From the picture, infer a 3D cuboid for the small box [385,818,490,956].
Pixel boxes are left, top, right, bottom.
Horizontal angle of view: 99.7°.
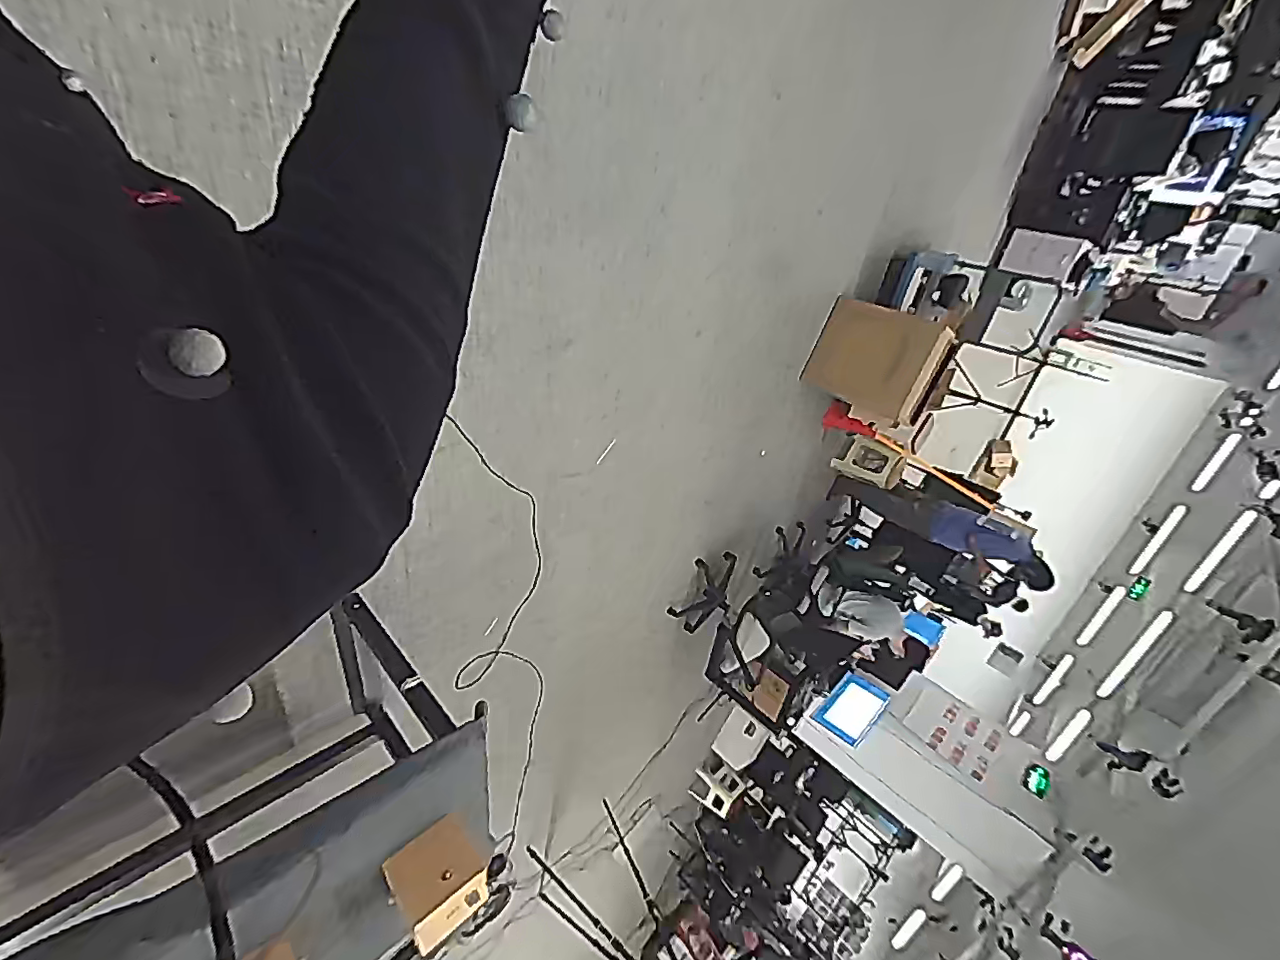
[{"bbox_3d":[-0.484,0.967,1.299,0.179,0.176,0.168,-24,132,-39],"label":"small box"}]
